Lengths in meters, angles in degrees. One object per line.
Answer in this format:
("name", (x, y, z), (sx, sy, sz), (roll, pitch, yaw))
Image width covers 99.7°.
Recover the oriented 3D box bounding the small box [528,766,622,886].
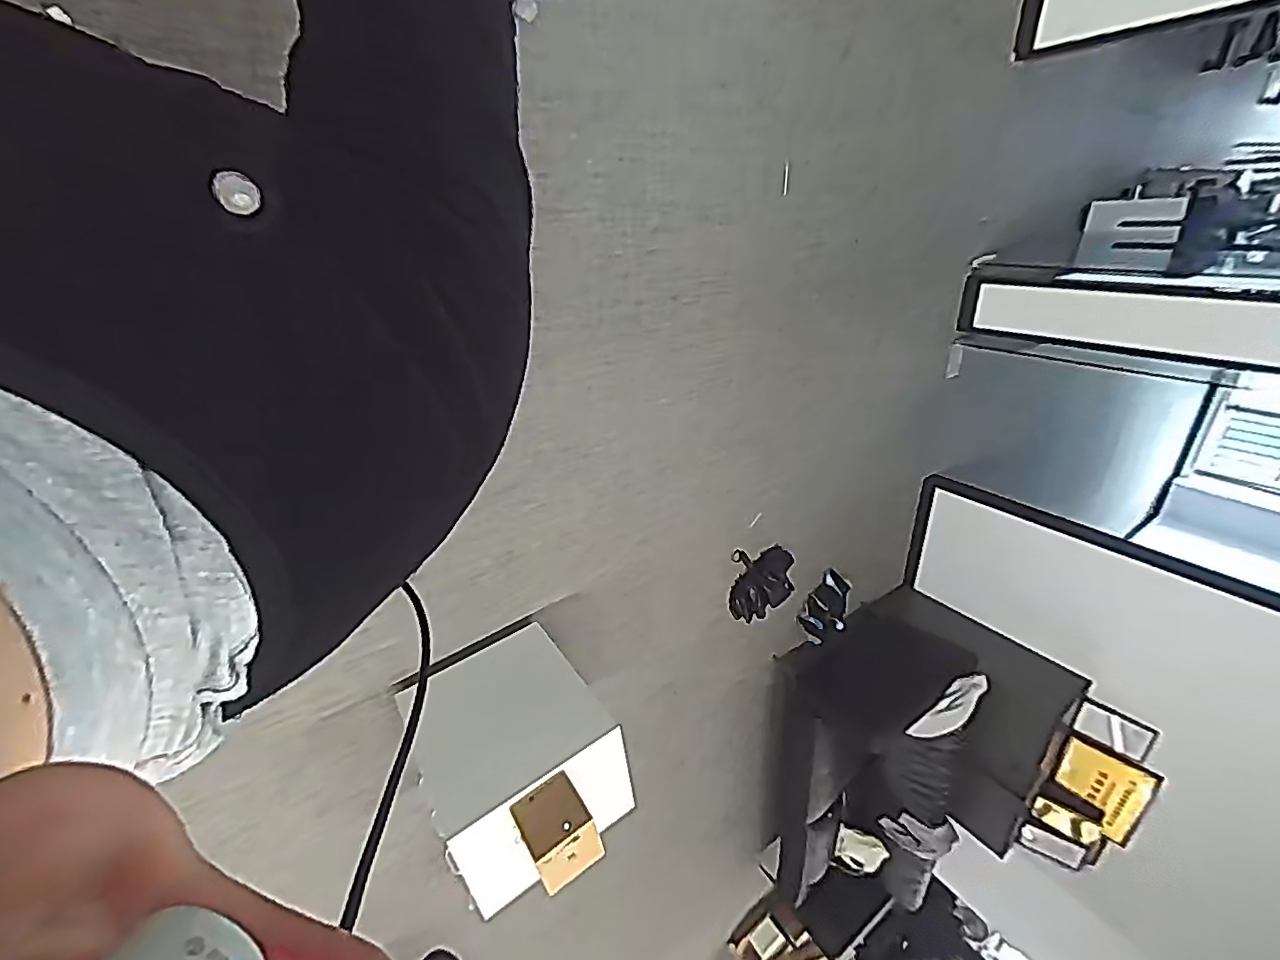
("small box", (-0.170, 0.898, 1.417), (0.168, 0.176, 0.179), (-28, 126, -26))
